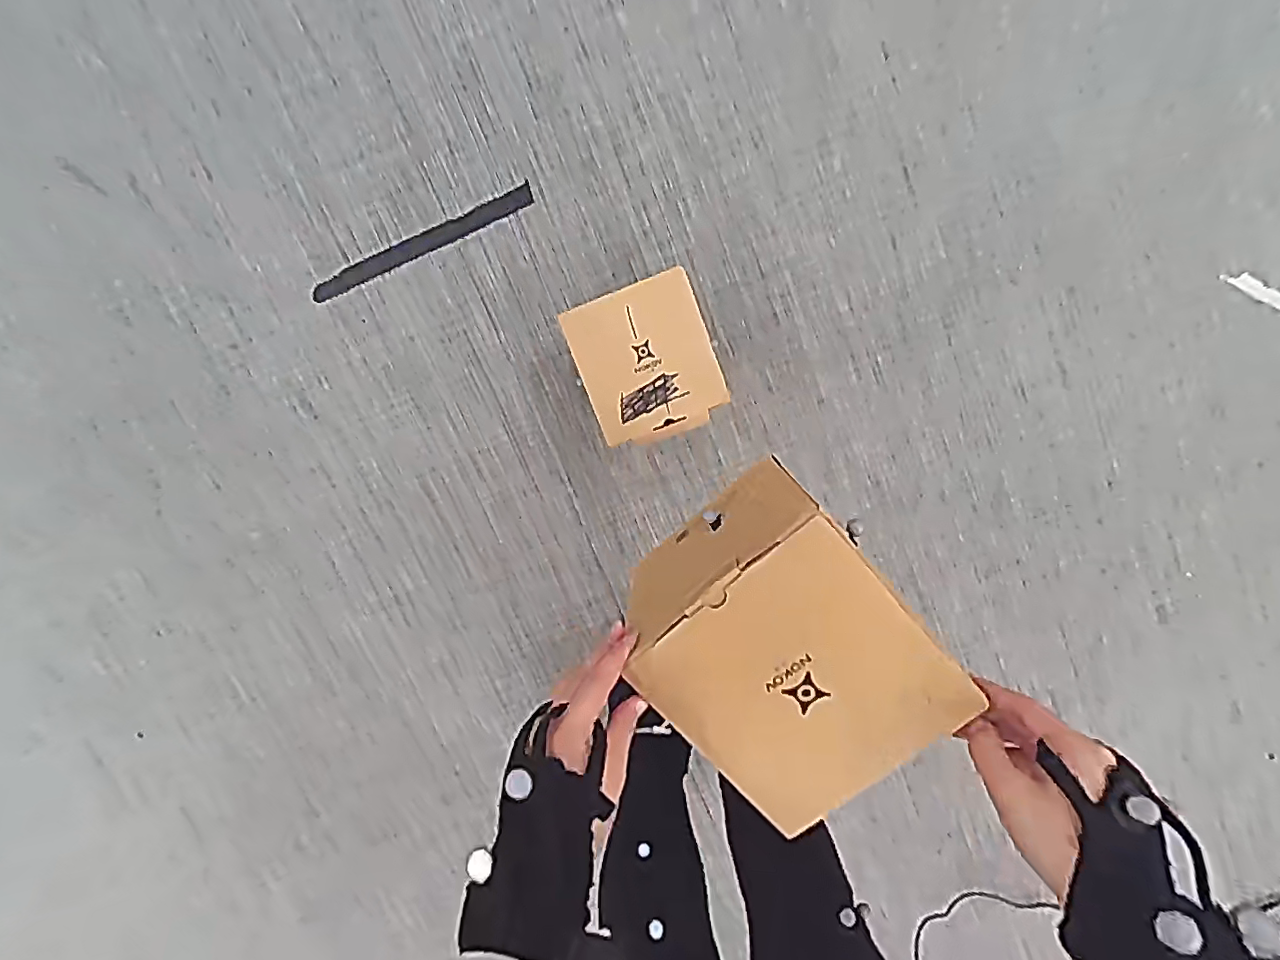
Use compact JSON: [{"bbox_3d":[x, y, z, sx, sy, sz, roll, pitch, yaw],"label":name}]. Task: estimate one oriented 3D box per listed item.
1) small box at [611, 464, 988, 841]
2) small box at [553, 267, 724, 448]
[{"bbox_3d":[0.103,0.111,0.412,0.168,0.176,0.179,-42,97,12],"label":"small box"},{"bbox_3d":[0.001,-0.158,0.734,0.168,0.176,0.179,-21,97,3],"label":"small box"}]
